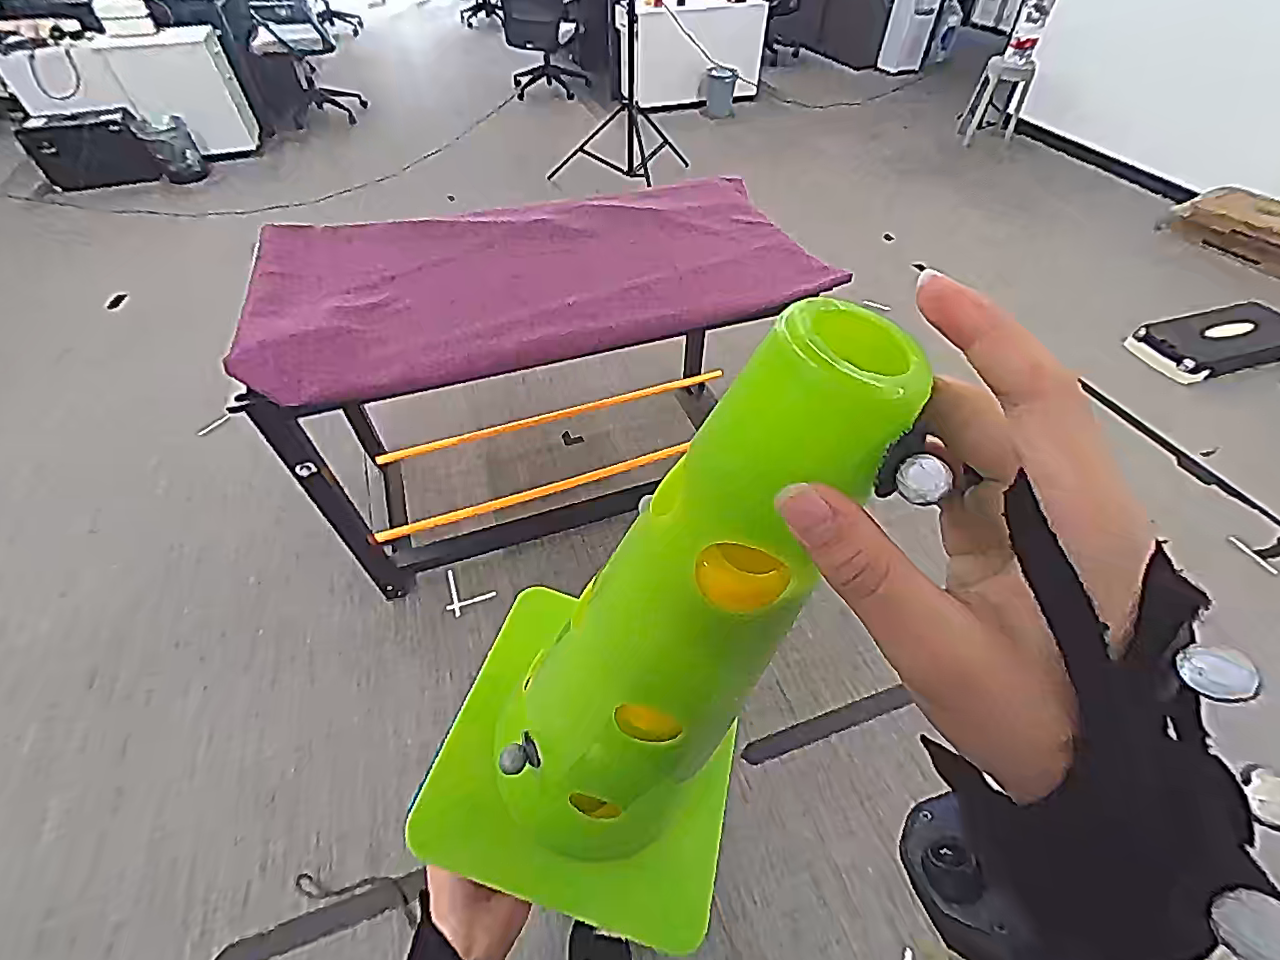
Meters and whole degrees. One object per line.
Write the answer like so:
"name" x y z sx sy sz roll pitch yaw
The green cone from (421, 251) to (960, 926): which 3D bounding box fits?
"green cone" 0.013 0.065 0.261 0.200 0.368 0.202 20 49 0
